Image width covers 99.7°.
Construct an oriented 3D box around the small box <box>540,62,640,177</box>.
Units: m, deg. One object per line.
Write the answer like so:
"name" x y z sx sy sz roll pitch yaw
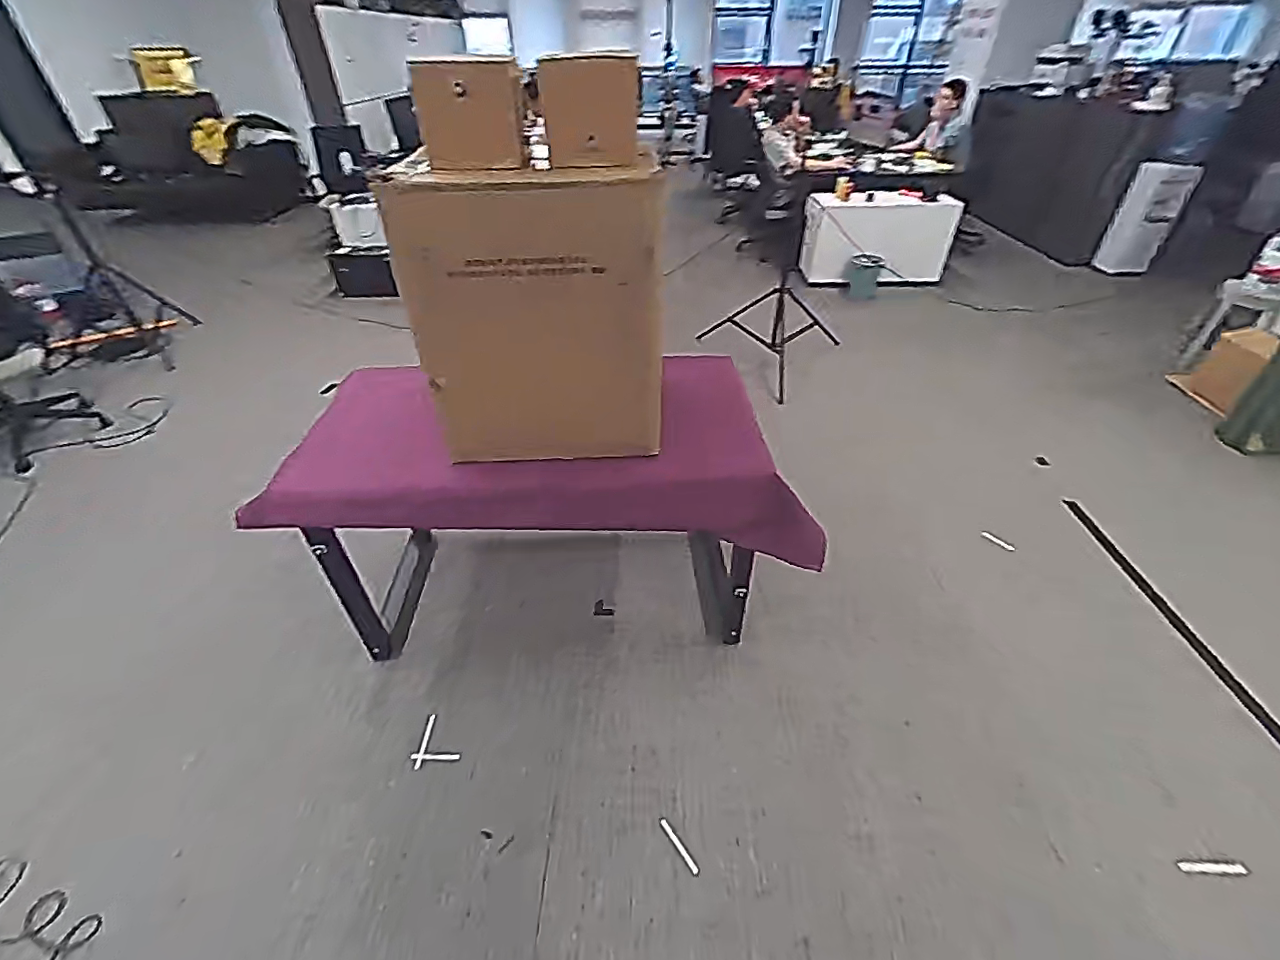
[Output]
"small box" -0.089 -0.702 1.053 0.179 0.176 0.168 -1 39 0
